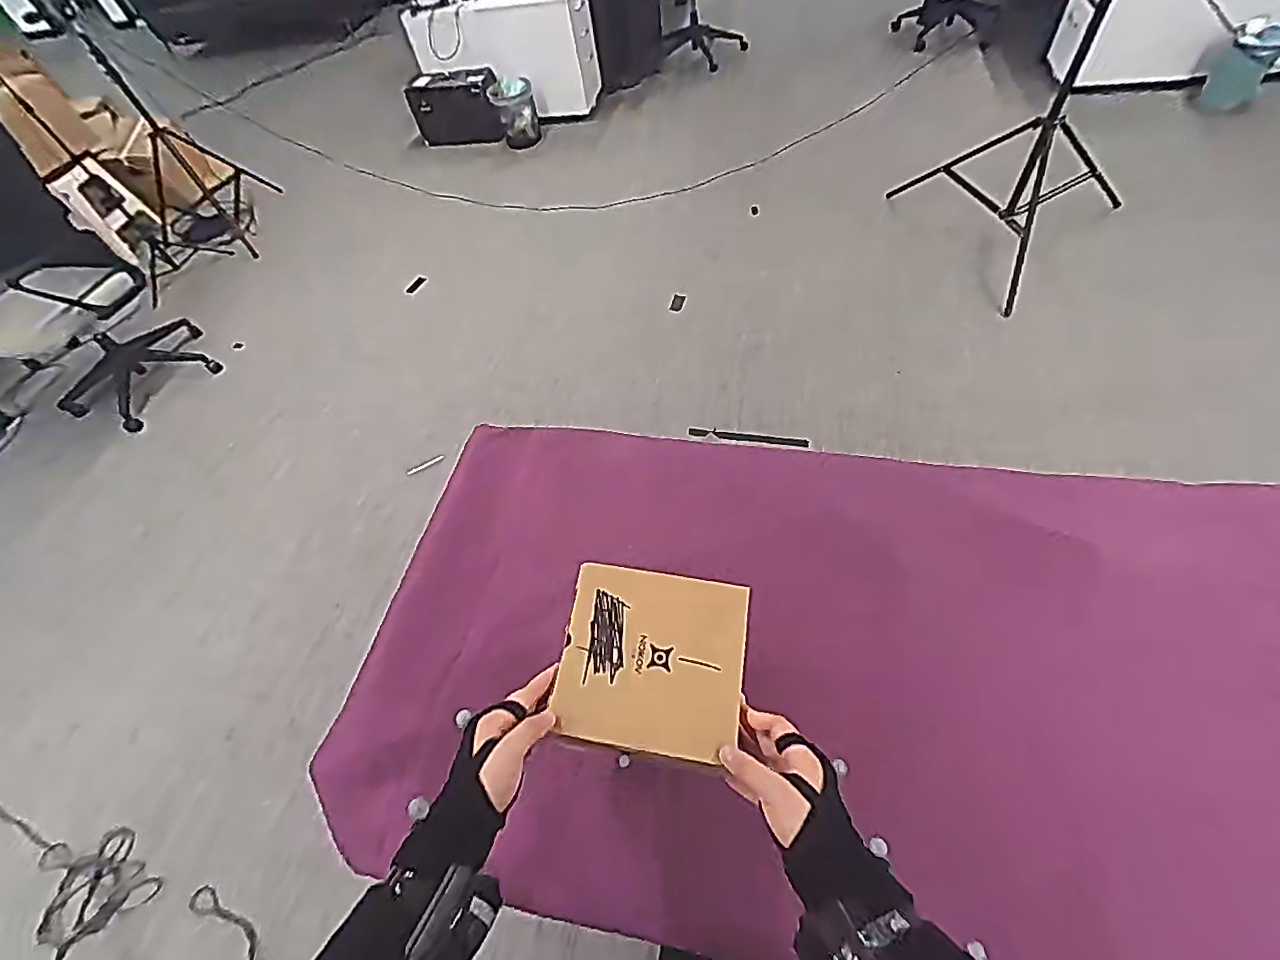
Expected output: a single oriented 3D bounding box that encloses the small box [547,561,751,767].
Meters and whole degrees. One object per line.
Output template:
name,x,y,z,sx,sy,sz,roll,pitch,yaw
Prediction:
small box,0.016,0.205,0.588,0.179,0.176,0.168,8,60,6
